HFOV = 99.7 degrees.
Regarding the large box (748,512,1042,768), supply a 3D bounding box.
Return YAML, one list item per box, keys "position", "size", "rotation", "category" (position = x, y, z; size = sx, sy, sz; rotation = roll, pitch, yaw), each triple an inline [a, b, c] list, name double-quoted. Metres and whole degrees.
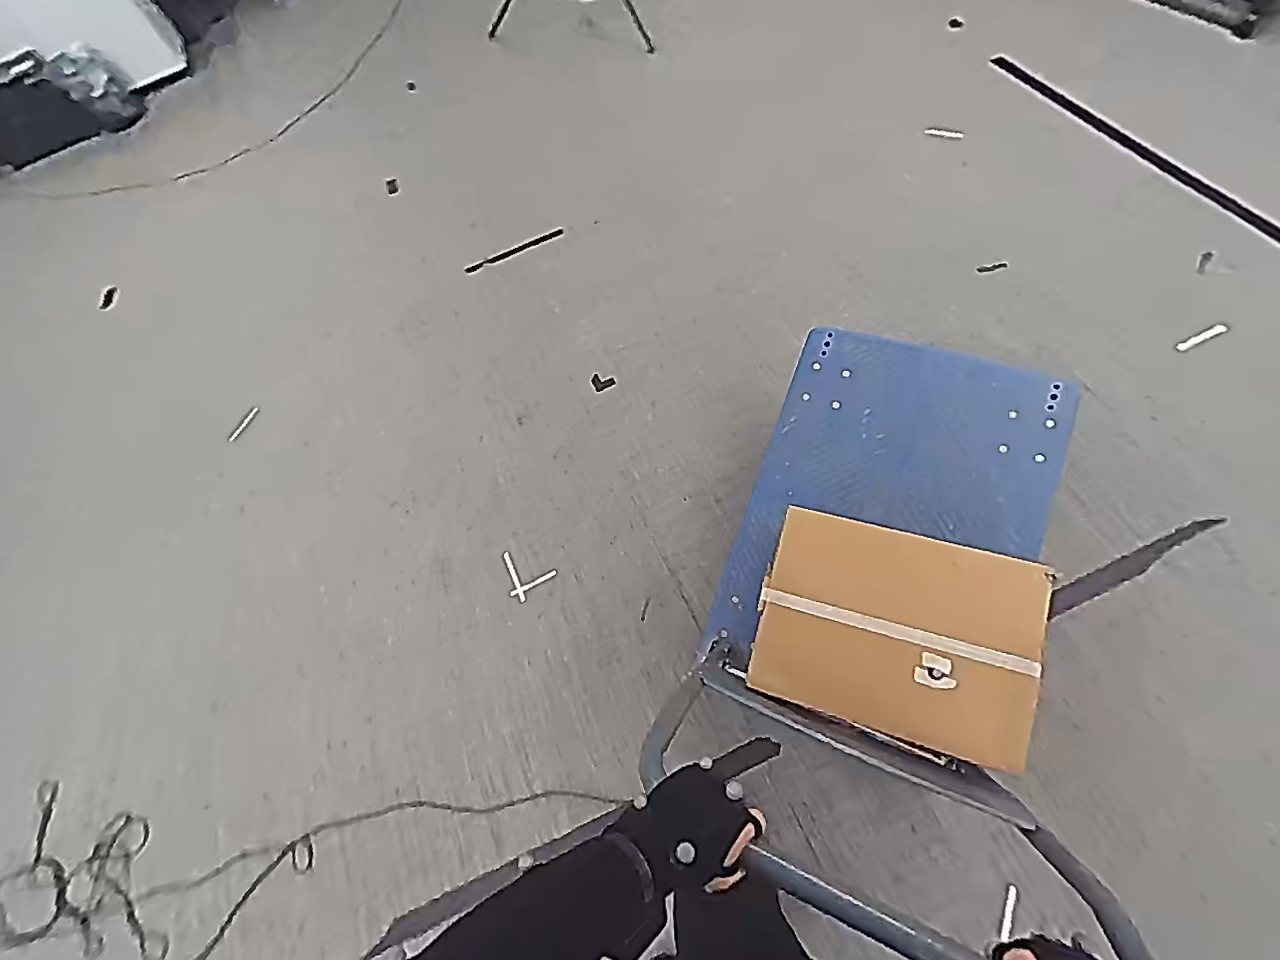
- position: [0.434, 0.273, 1.012]
  size: [0.408, 0.320, 0.320]
  rotation: [14, 81, 16]
  category: "large box"
